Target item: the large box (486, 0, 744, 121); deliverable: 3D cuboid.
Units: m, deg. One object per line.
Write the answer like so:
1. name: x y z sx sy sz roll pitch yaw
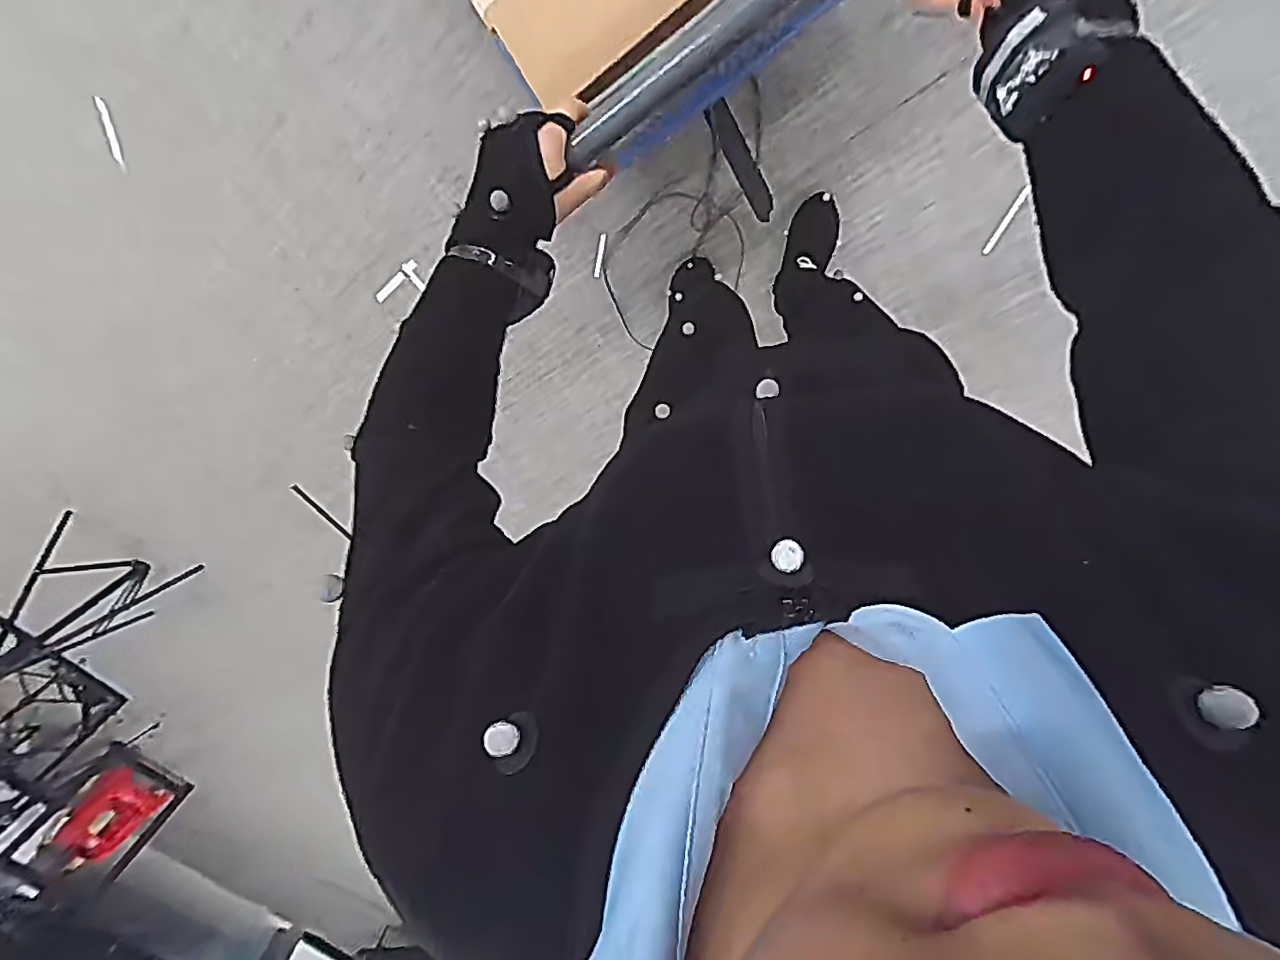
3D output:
1. large box: -0.020 -0.801 0.778 0.408 0.320 0.320 -25 115 24
